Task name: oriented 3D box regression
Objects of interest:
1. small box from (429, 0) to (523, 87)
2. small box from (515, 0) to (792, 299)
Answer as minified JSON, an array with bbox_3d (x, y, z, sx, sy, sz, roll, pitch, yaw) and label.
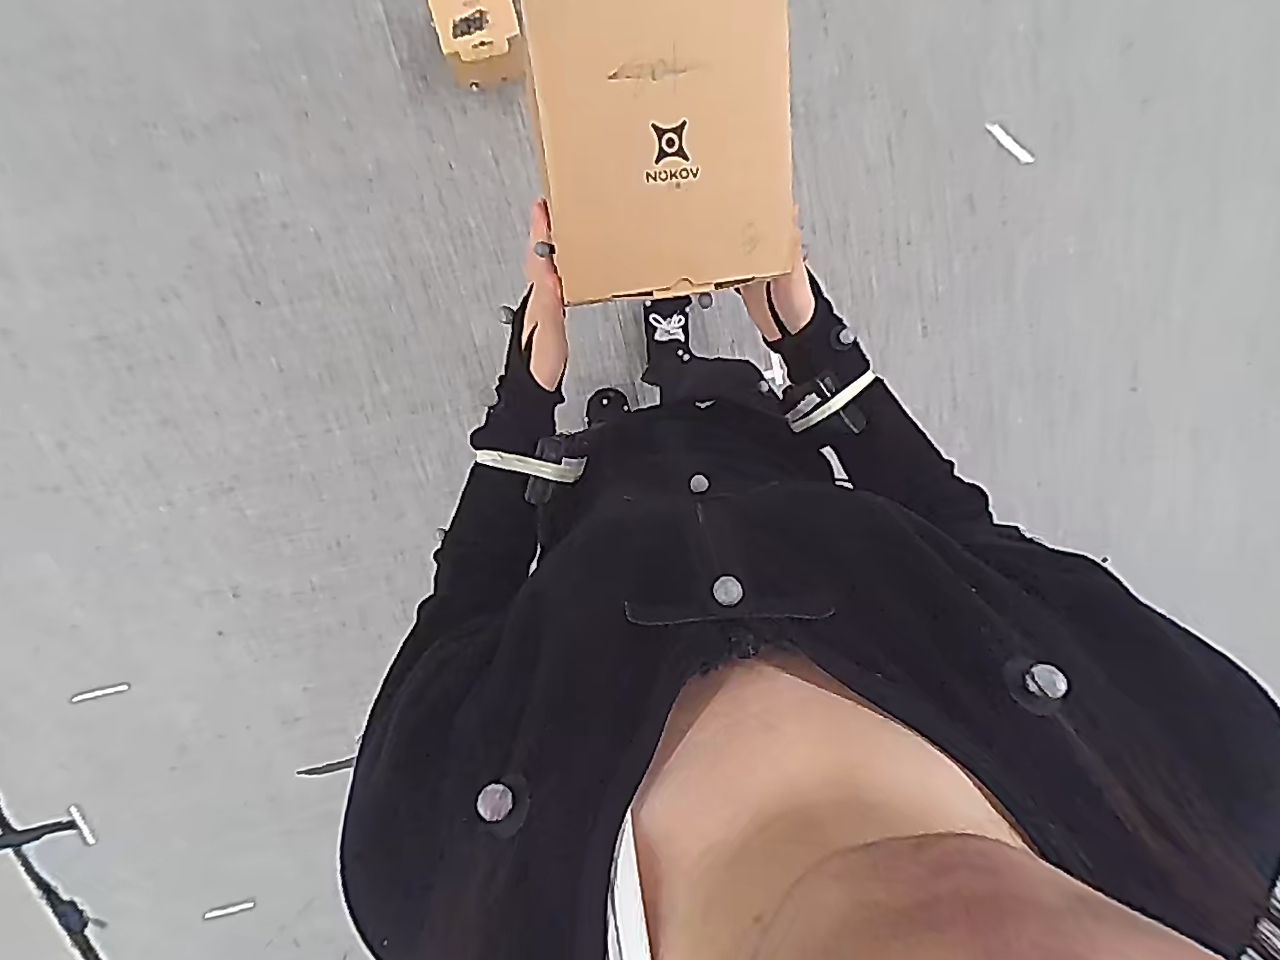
[{"bbox_3d":[-0.344,-0.982,1.160,0.168,0.176,0.179,-15,104,-1],"label":"small box"},{"bbox_3d":[0.005,-0.242,0.423,0.168,0.176,0.179,-11,108,-7],"label":"small box"}]
